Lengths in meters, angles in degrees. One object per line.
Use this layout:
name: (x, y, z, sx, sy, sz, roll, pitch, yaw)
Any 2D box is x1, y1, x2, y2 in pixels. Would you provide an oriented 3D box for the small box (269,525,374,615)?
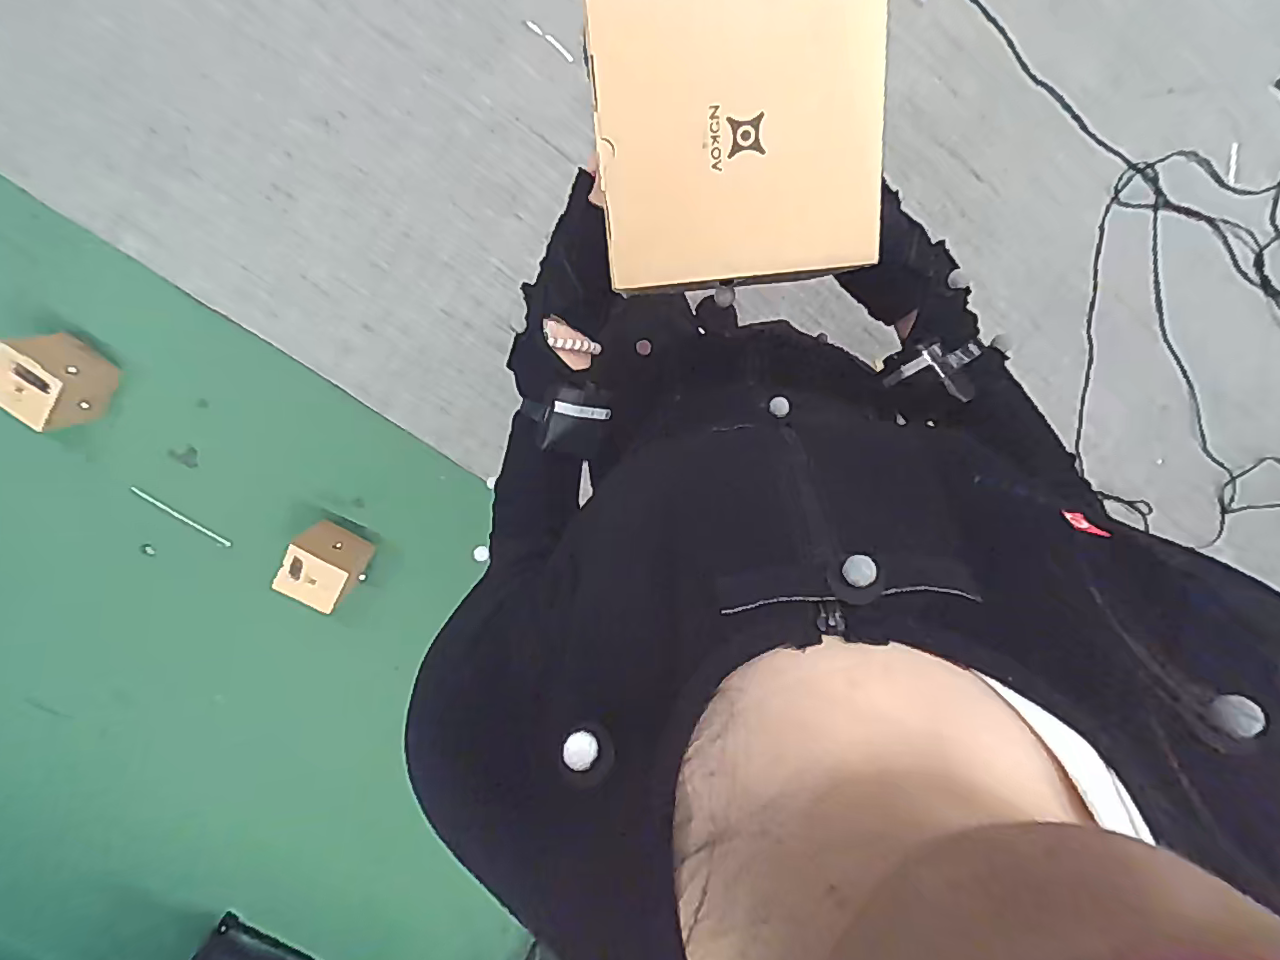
small box: (-0.919, 0.252, 1.572, 0.179, 0.176, 0.168, 31, 108, -9)

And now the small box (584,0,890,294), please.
small box: (0.063, -0.232, 0.404, 0.179, 0.176, 0.168, -4, 108, 5)
